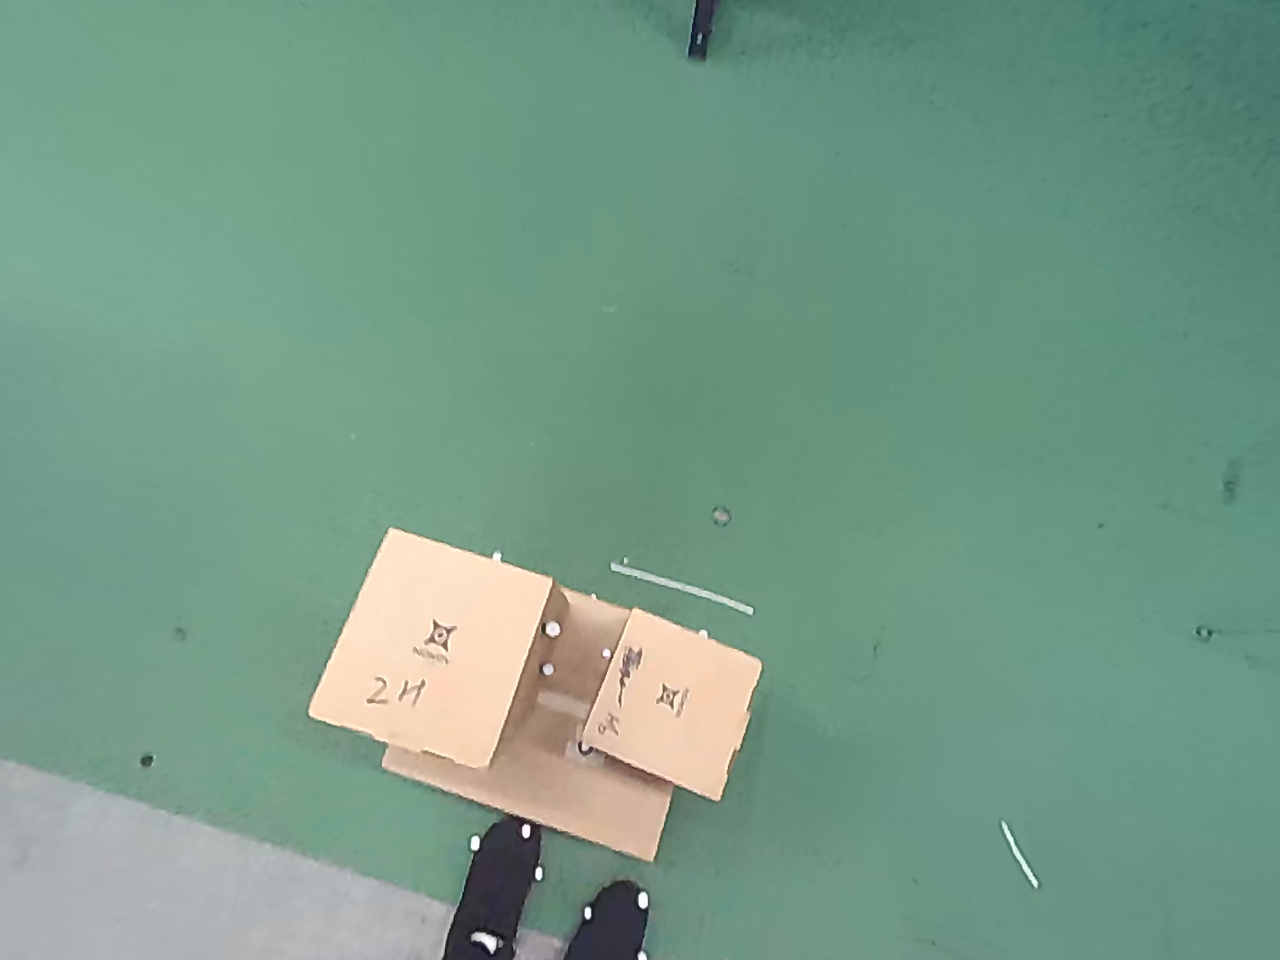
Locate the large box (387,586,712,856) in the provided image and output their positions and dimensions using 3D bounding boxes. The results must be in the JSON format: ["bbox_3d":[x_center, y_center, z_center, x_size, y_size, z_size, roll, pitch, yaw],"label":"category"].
[{"bbox_3d":[-0.133,0.366,0.930,0.408,0.320,0.320,18,73,1],"label":"large box"}]

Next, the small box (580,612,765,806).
[{"bbox_3d":[0.036,0.286,0.709,0.179,0.176,0.168,22,72,4],"label":"small box"}]

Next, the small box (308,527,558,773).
[{"bbox_3d":[-0.189,0.169,0.560,0.168,0.176,0.179,17,72,1],"label":"small box"}]
